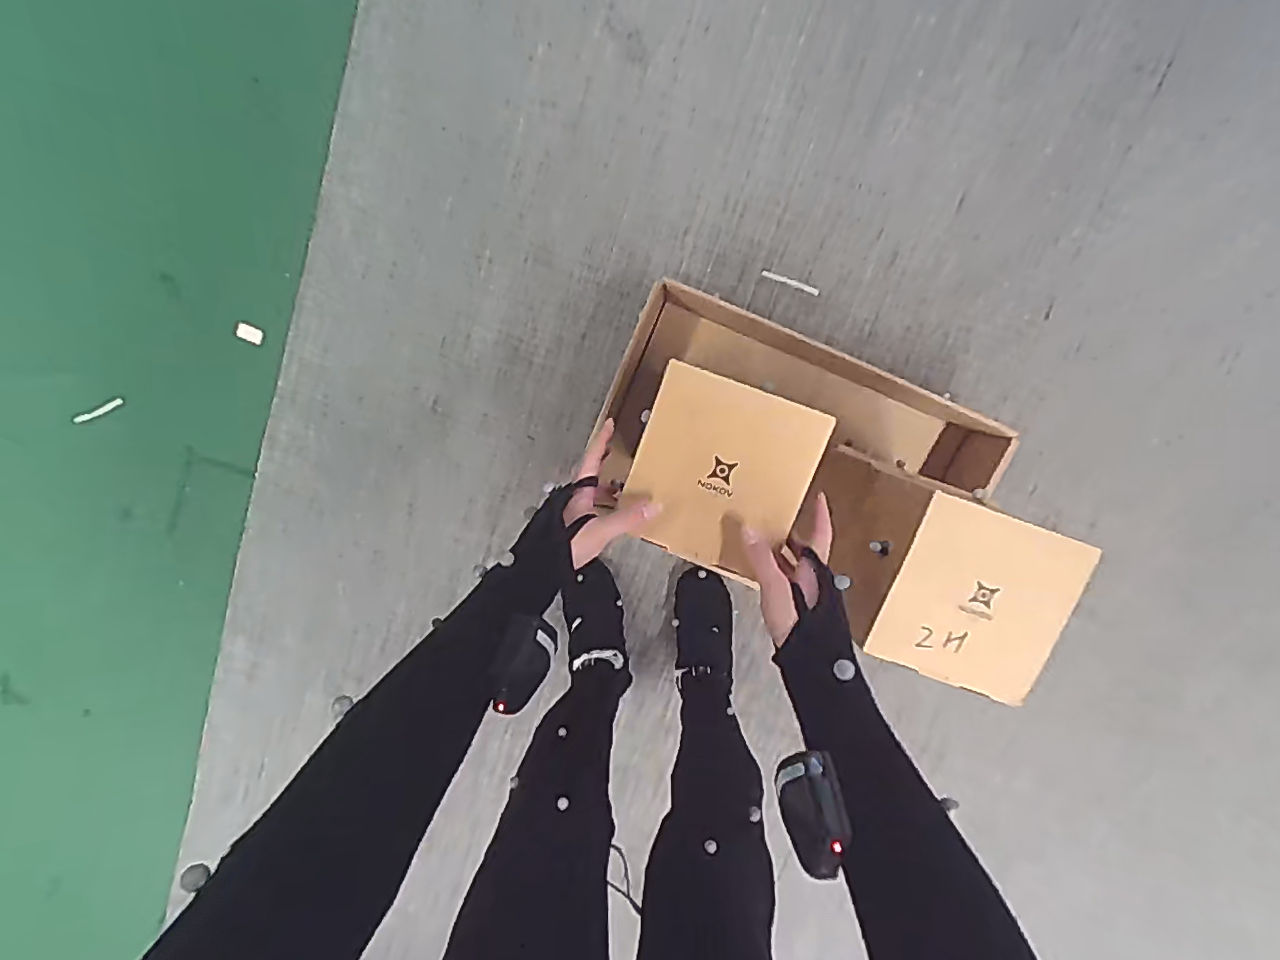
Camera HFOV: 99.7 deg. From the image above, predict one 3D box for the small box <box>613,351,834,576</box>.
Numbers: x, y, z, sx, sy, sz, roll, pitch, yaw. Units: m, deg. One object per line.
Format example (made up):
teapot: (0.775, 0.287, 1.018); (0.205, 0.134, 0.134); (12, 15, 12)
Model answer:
small box: (0.079, -0.025, 0.587); (0.168, 0.176, 0.179); (19, 100, 0)

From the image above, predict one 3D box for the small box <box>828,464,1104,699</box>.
small box: (0.326, 0.092, 0.586); (0.168, 0.176, 0.179); (20, 100, 1)
